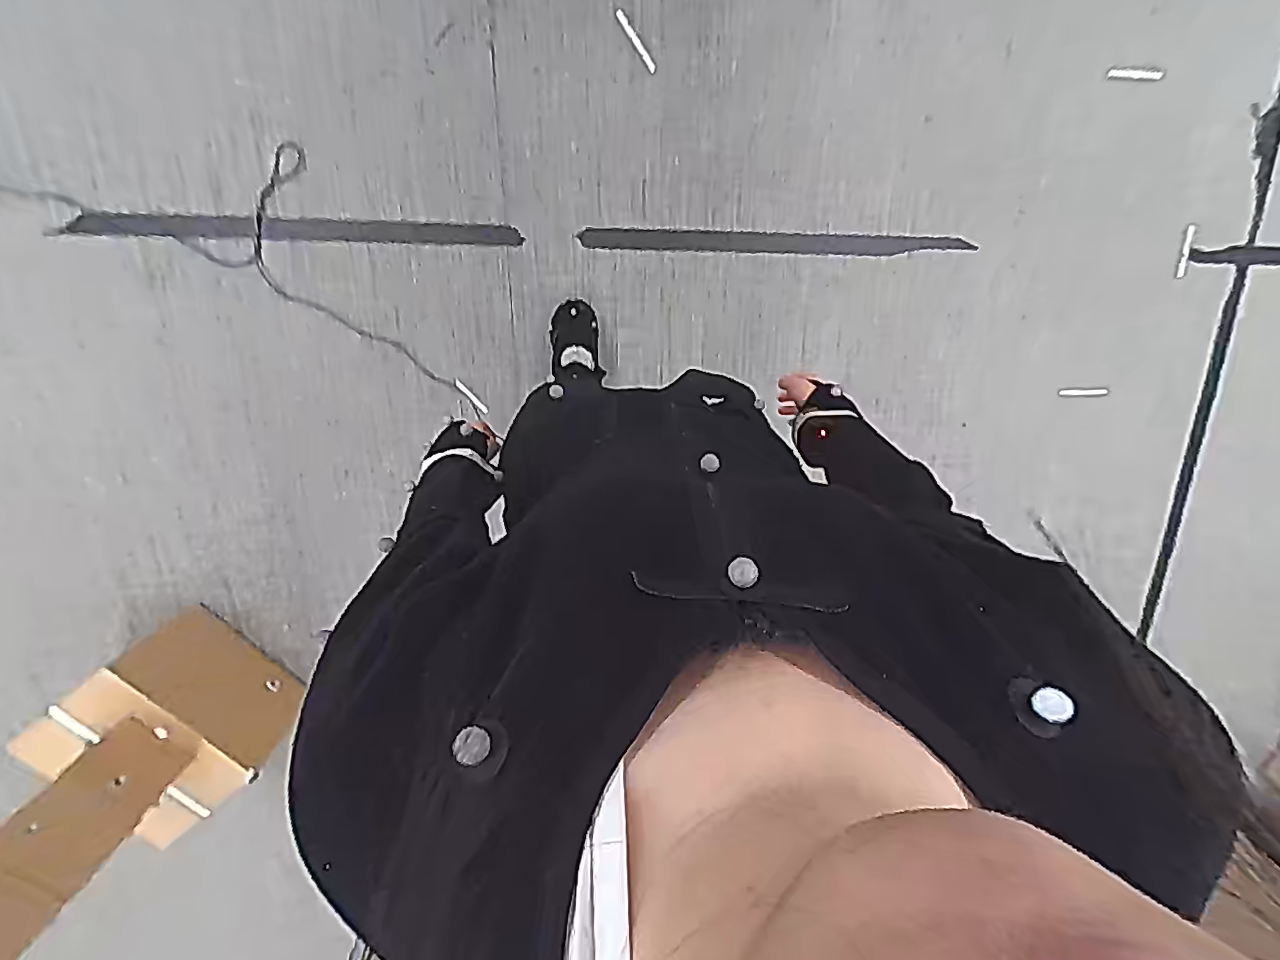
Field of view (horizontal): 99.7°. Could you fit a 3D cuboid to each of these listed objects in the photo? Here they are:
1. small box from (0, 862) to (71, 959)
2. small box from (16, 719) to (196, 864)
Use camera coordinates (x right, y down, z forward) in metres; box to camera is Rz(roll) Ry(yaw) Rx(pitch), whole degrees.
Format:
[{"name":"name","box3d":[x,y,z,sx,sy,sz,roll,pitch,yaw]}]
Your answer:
[{"name":"small box","box3d":[-1.078,0.737,0.836,0.168,0.176,0.179,-41,105,5]},{"name":"small box","box3d":[-1.118,0.654,1.152,0.168,0.176,0.179,-42,105,4]}]
